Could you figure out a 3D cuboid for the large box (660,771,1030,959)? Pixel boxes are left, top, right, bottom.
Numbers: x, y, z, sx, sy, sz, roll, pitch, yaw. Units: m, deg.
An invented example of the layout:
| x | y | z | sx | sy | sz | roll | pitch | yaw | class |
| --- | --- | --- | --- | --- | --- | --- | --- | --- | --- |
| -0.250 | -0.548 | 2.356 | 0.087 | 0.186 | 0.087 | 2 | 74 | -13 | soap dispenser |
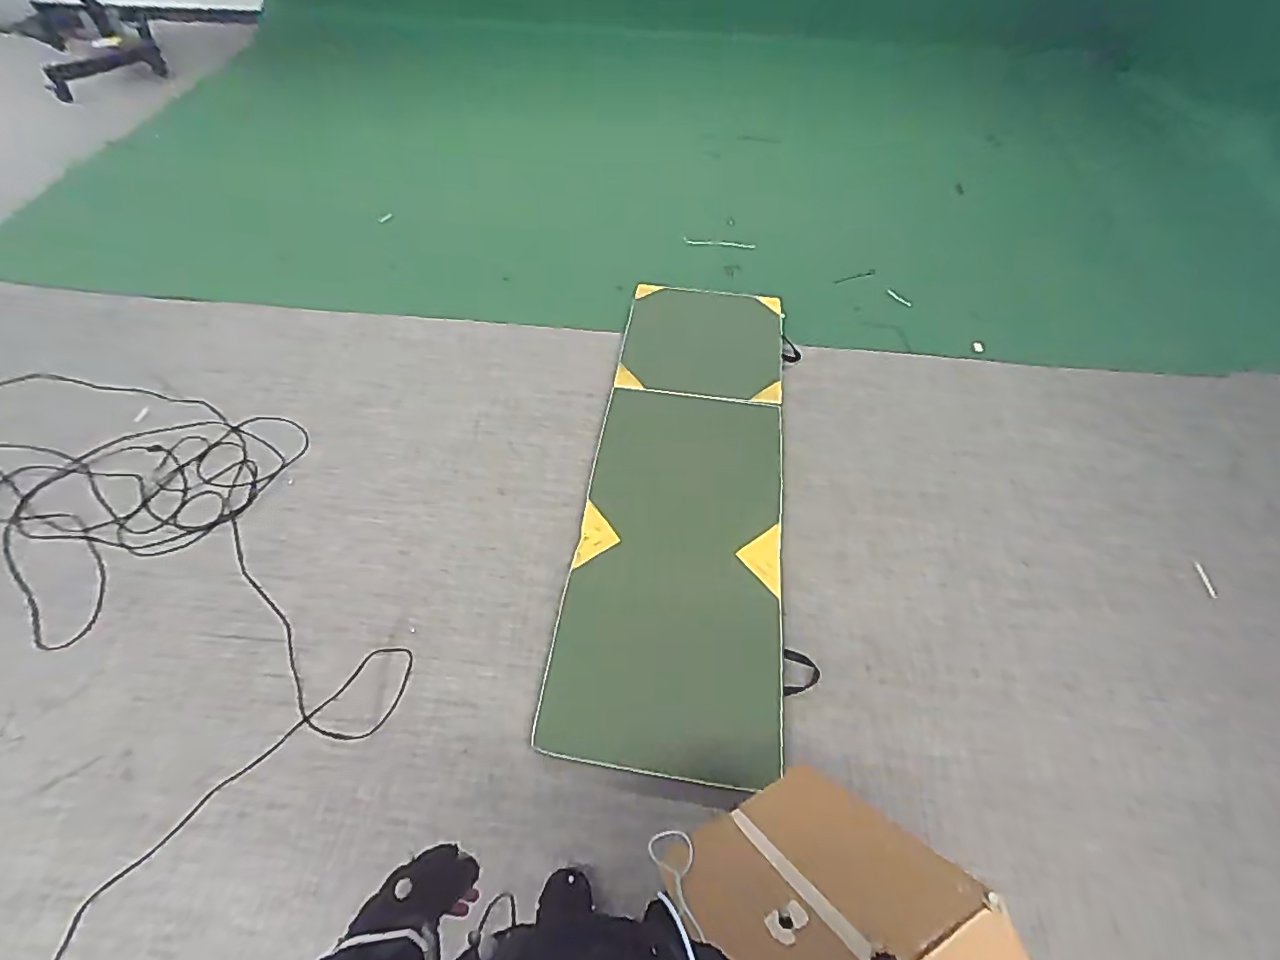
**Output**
| x | y | z | sx | sy | sz | roll | pitch | yaw | class |
| --- | --- | --- | --- | --- | --- | --- | --- | --- | --- |
| 0.273 | 0.678 | 0.728 | 0.320 | 0.408 | 0.320 | -24 | 87 | -17 | large box |
